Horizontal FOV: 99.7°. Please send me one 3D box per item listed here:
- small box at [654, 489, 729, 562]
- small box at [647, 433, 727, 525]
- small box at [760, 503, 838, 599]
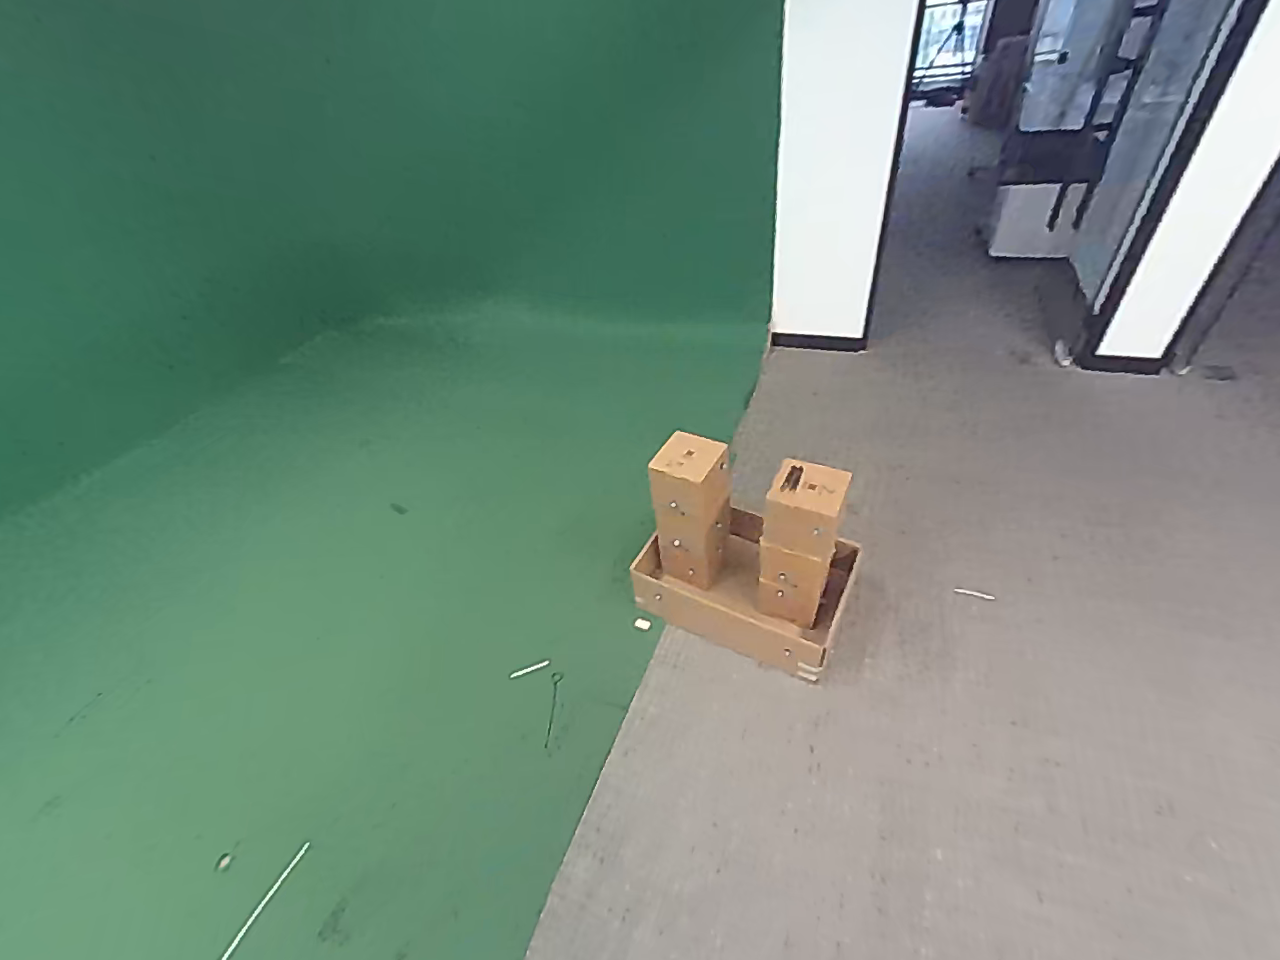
[{"bbox_3d":[0.160,0.116,1.661,0.168,0.176,0.179,21,51,27],"label":"small box"},{"bbox_3d":[0.137,-0.003,1.550,0.168,0.176,0.179,19,50,26],"label":"small box"},{"bbox_3d":[0.441,0.198,1.521,0.168,0.176,0.179,16,48,26],"label":"small box"}]
